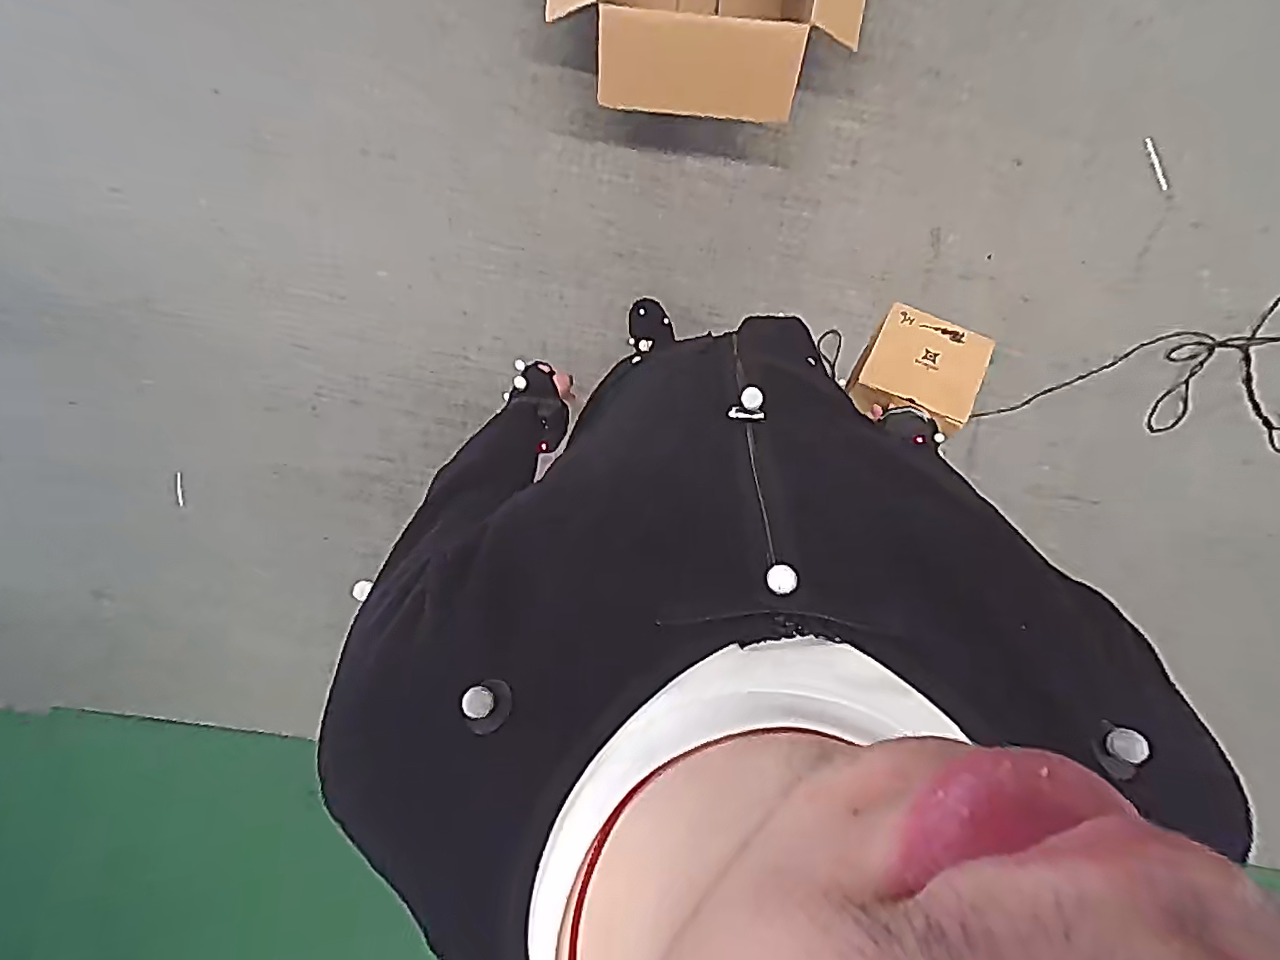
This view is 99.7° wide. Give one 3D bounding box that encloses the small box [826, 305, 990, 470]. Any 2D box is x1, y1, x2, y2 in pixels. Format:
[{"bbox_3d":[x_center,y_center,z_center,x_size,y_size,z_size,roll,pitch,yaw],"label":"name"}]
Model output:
[{"bbox_3d":[0.429,-0.144,0.895,0.168,0.176,0.179,28,69,11],"label":"small box"}]
